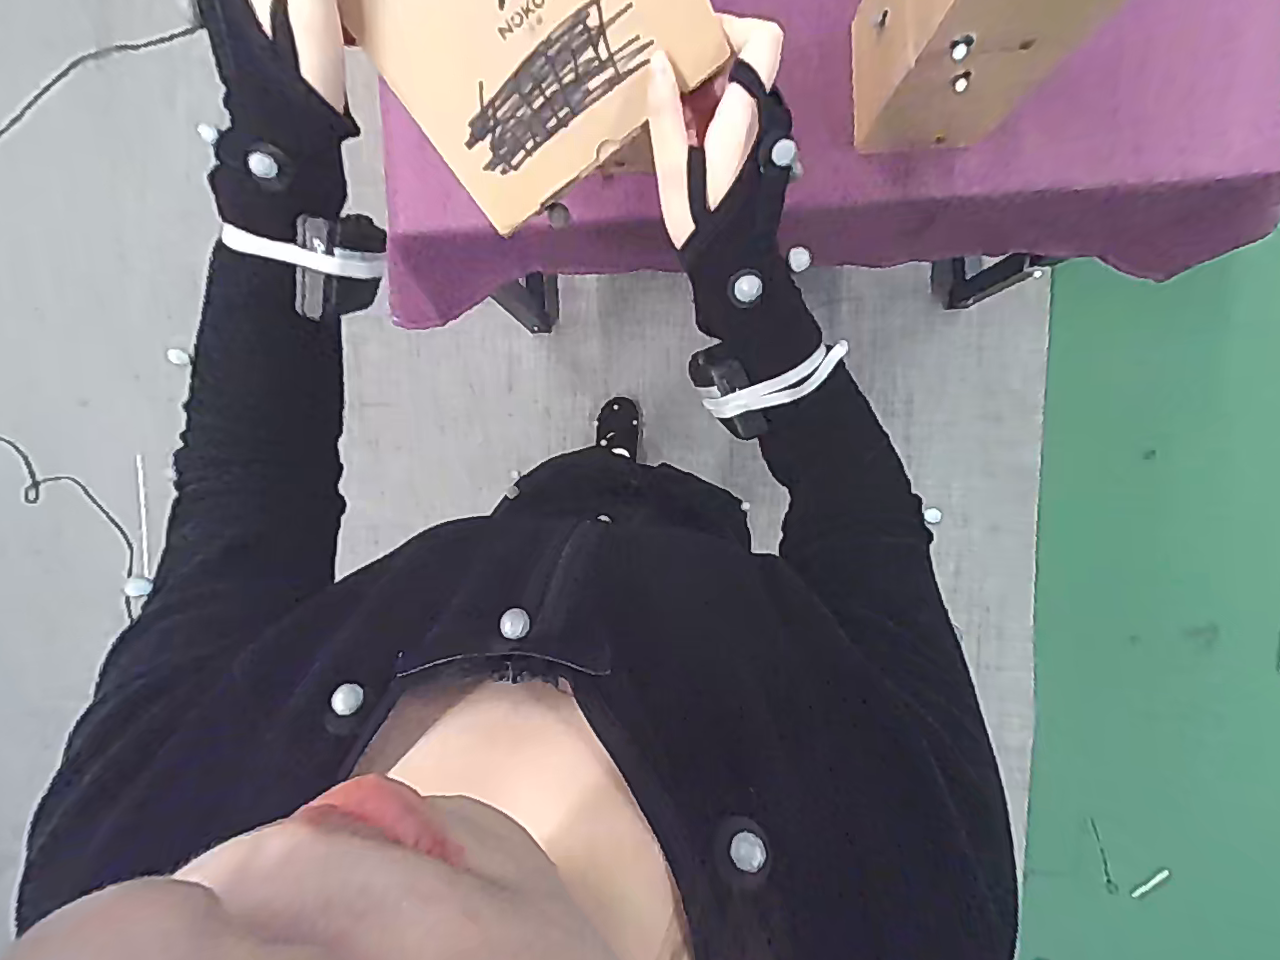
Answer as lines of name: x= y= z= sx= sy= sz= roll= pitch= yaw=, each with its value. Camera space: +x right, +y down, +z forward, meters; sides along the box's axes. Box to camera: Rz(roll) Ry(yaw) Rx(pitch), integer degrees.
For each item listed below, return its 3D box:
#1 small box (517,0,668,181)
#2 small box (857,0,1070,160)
small box: x=-0.050 y=-0.501 z=0.669 sx=0.168 sy=0.176 sz=0.179 roll=-1 pitch=93 yaw=3
small box: x=0.369 y=-0.520 z=0.647 sx=0.168 sy=0.176 sz=0.179 roll=-2 pitch=92 yaw=4
